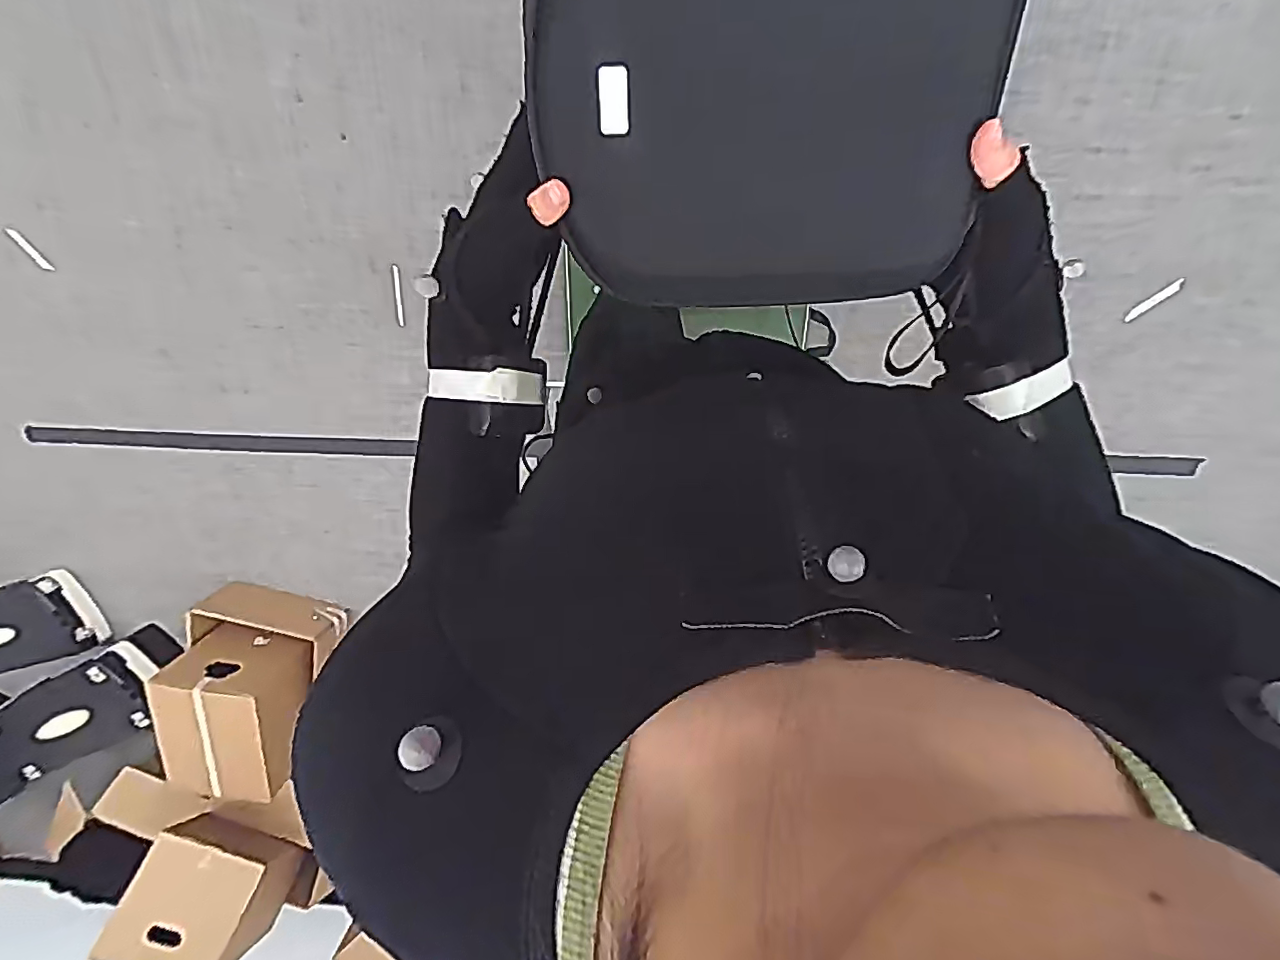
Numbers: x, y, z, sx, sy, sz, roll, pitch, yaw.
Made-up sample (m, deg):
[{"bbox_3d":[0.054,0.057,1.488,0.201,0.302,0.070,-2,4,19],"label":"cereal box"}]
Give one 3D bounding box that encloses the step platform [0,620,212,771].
[{"bbox_3d":[-1.870,0.751,1.872,0.684,0.204,0.286,-26,106,12],"label":"step platform"}]
